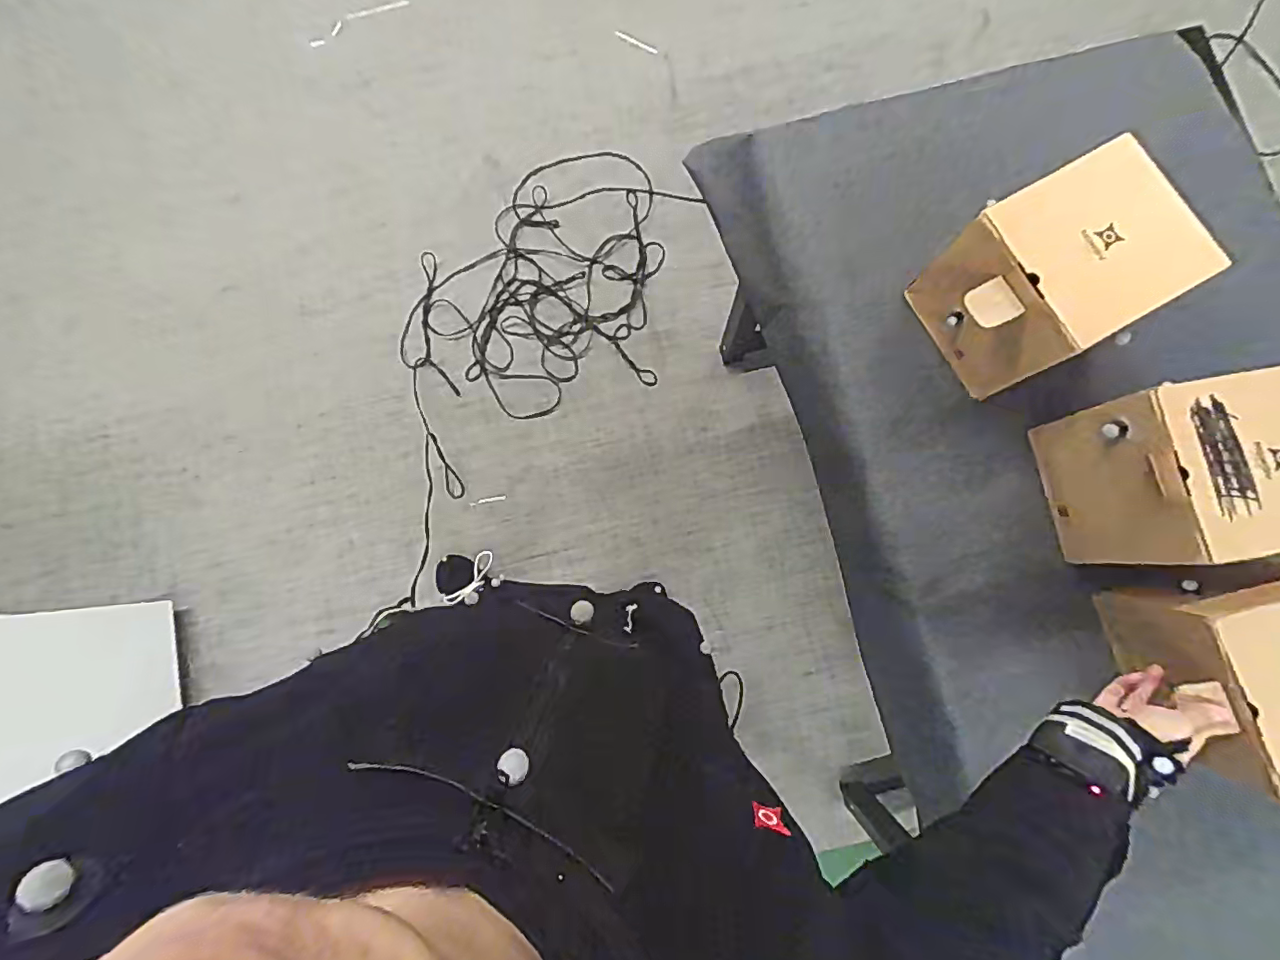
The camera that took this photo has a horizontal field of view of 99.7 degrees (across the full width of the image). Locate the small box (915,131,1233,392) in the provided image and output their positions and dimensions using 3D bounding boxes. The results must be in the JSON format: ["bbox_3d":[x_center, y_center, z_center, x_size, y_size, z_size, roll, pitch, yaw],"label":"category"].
[{"bbox_3d":[0.451,-0.224,0.596,0.179,0.176,0.168,-29,83,-3],"label":"small box"}]
